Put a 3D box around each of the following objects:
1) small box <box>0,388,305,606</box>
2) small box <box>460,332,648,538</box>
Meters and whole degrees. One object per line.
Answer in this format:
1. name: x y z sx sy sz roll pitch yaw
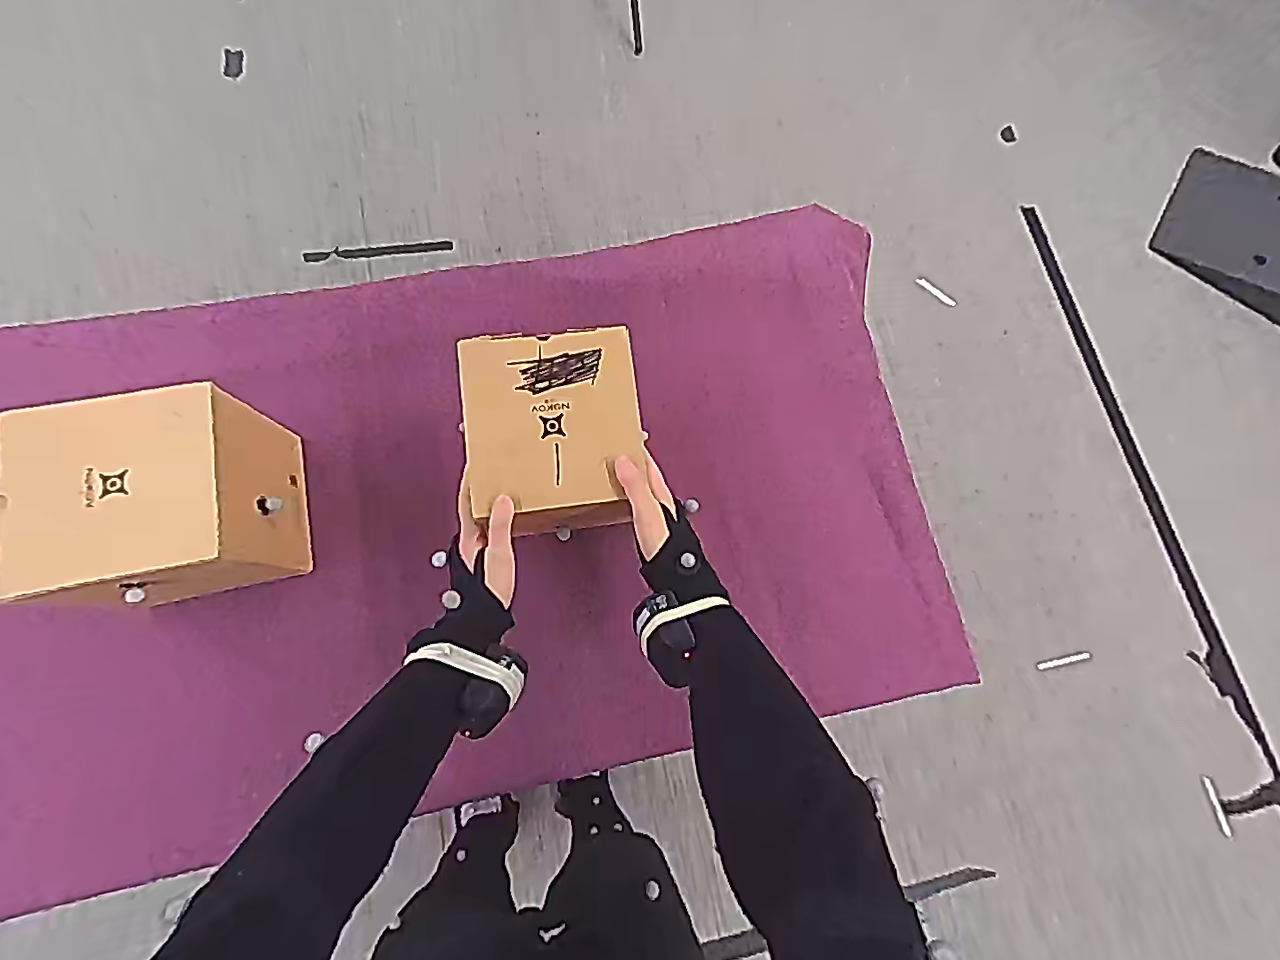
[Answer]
1. small box: -0.464 0.025 0.543 0.179 0.176 0.168 -11 78 -8
2. small box: -0.091 -0.040 0.590 0.168 0.176 0.179 -7 79 -7
